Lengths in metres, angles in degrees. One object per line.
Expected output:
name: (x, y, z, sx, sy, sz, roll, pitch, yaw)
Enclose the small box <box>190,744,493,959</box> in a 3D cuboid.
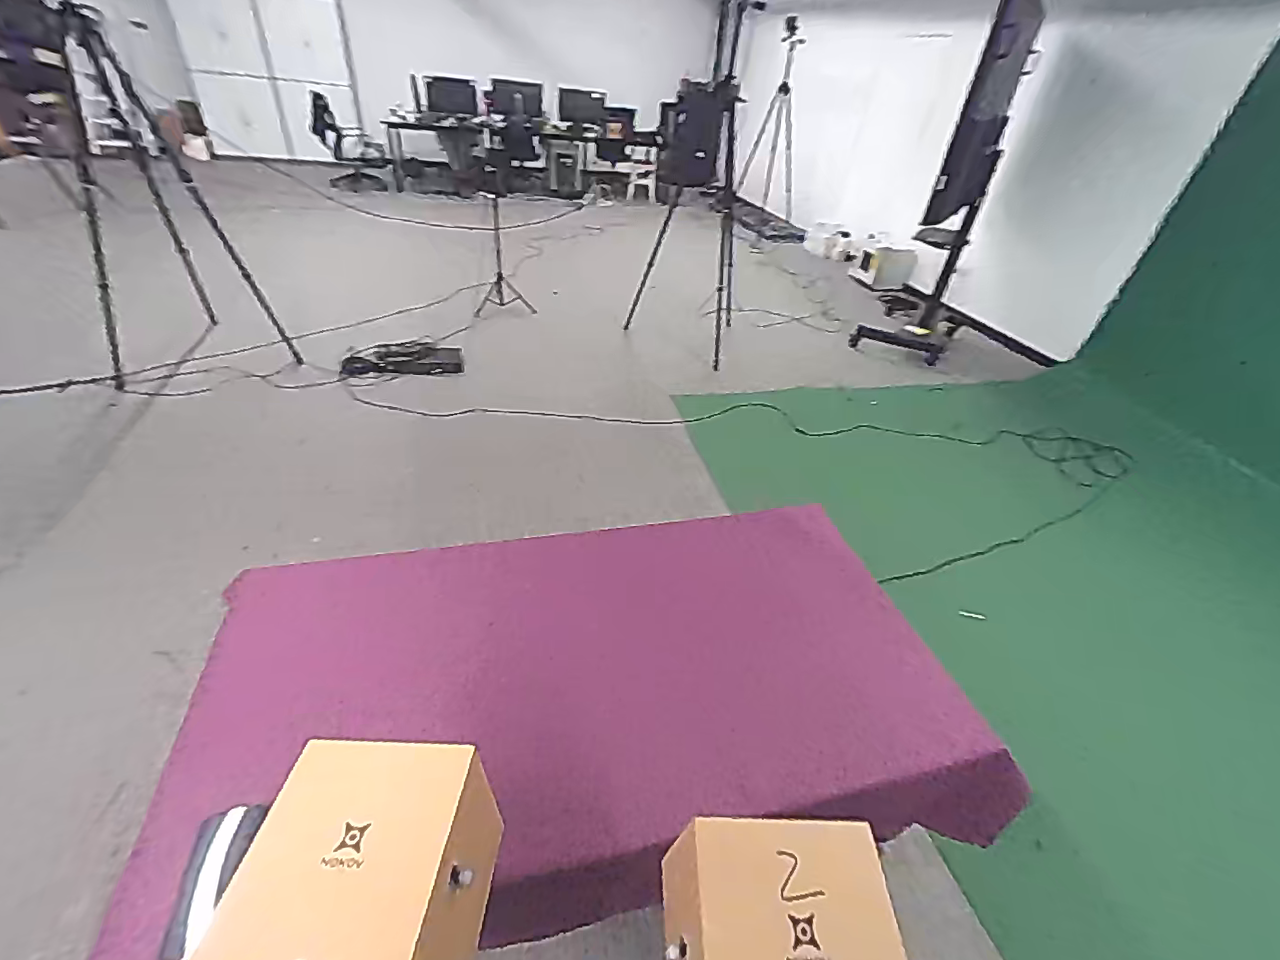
small box: (-0.240, 0.372, 0.493, 0.168, 0.176, 0.179, 2, 36, 1)
